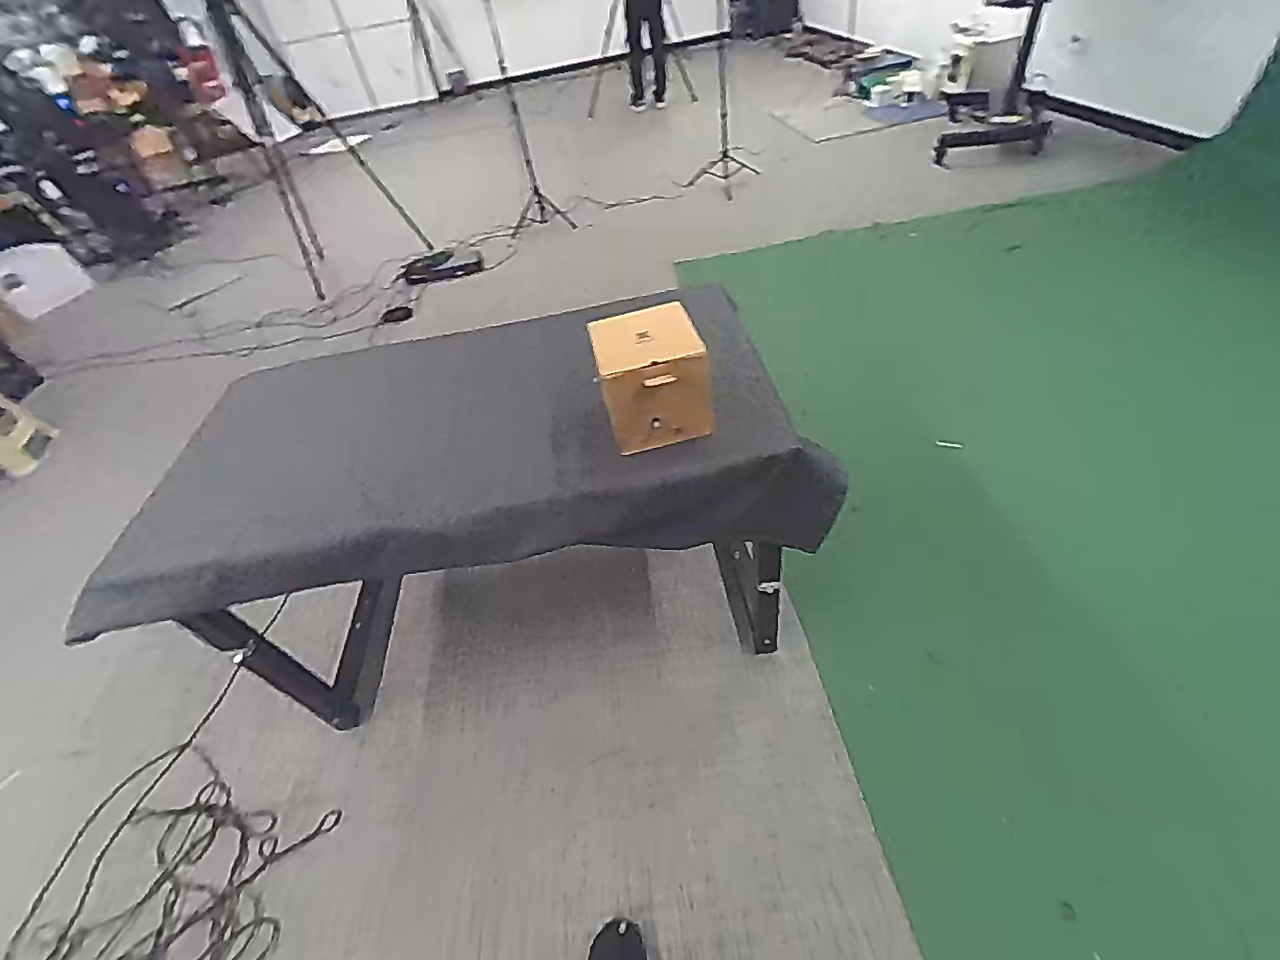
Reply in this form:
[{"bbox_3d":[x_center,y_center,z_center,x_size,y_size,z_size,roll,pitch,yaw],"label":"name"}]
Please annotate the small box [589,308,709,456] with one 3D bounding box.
[{"bbox_3d":[0.015,-0.170,0.938,0.168,0.176,0.179,-15,45,-3],"label":"small box"}]
